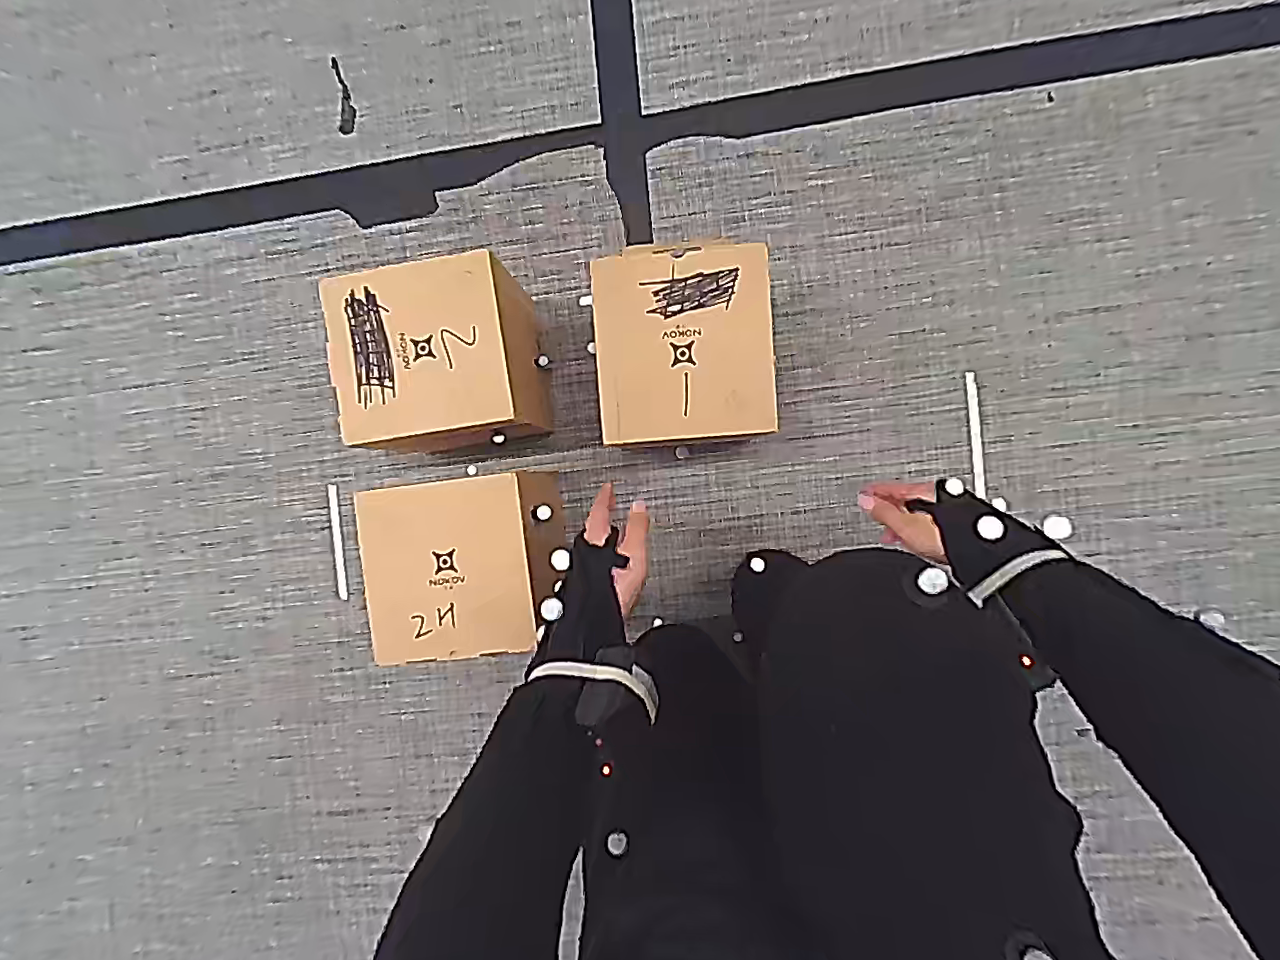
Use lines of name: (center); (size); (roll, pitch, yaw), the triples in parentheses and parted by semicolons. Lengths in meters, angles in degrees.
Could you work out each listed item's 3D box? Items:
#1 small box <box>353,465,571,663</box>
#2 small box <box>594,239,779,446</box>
small box: (-0.179, 0.080, 0.592); (0.168, 0.176, 0.179); (-7, 91, 5)
small box: (0.046, -0.130, 0.574); (0.168, 0.176, 0.179); (-4, 92, 4)
